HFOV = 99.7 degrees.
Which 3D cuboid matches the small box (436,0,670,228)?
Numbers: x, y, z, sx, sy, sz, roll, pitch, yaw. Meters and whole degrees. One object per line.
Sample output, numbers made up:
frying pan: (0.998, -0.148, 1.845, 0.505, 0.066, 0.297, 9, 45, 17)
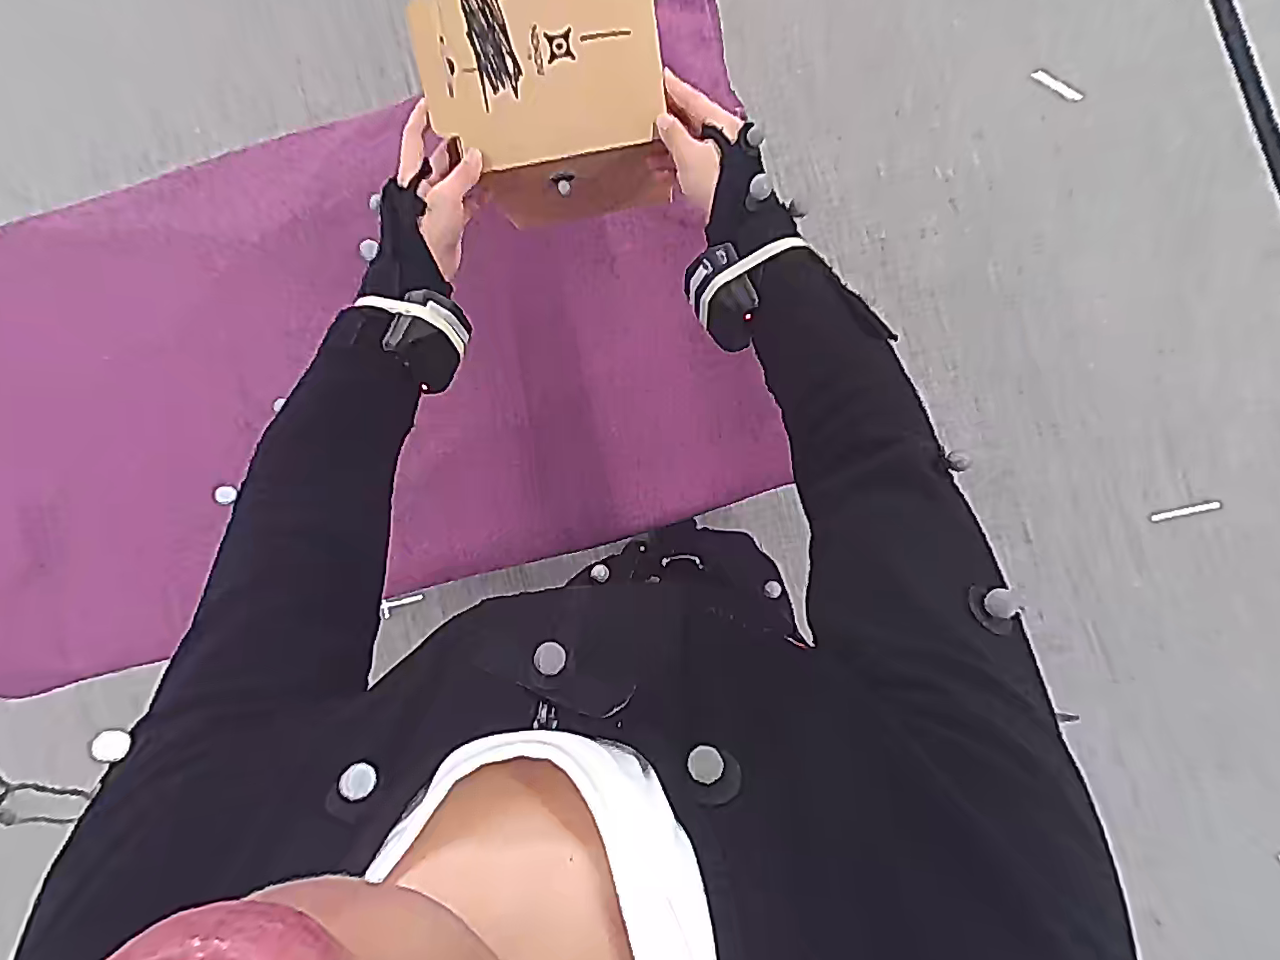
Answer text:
small box: (-0.067, -0.357, 0.516, 0.179, 0.176, 0.168, -8, 100, 4)
